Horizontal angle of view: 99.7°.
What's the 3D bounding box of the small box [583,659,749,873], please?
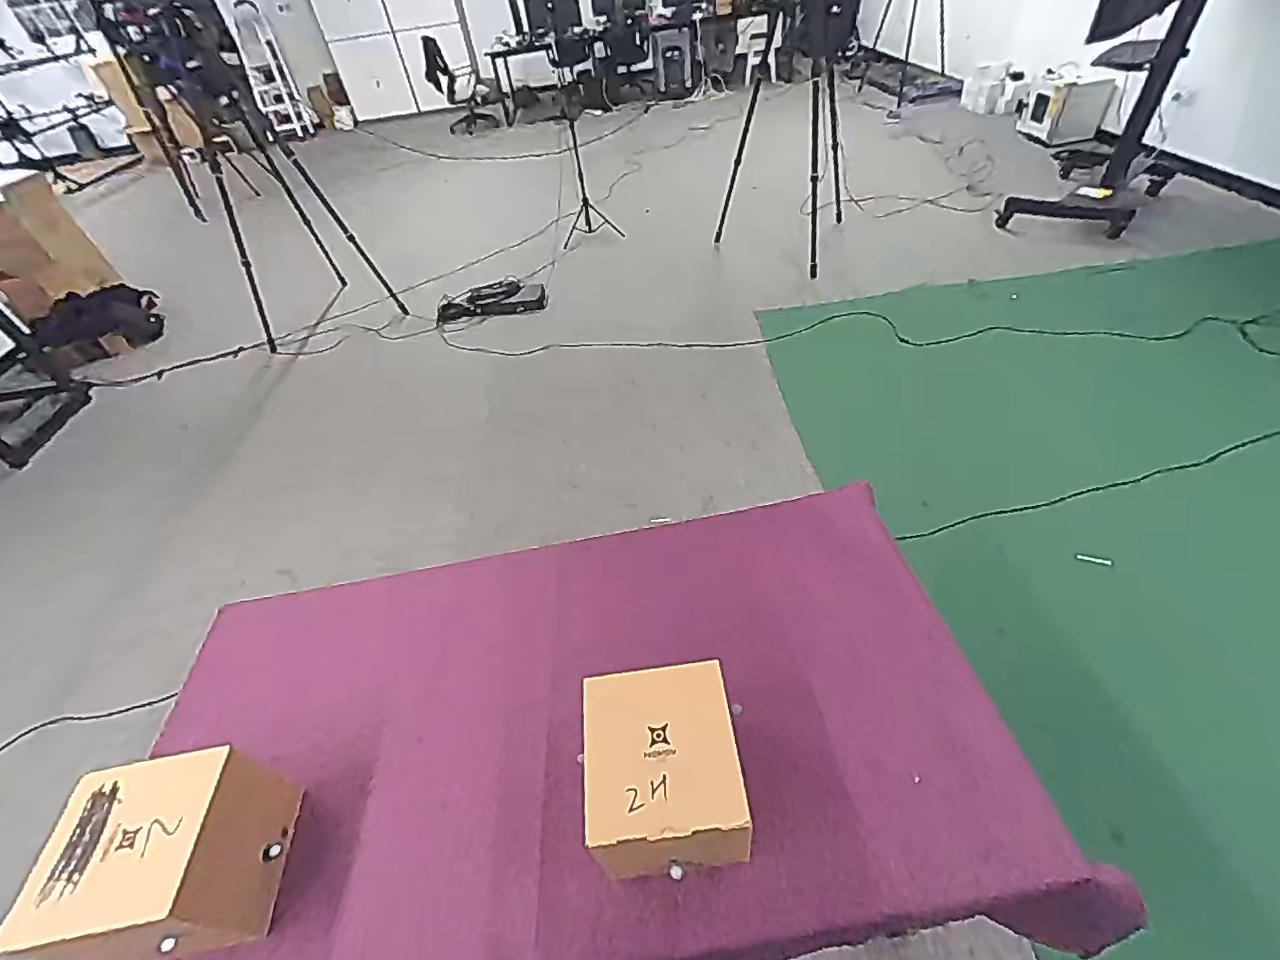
[{"bbox_3d":[0.028,0.339,0.642,0.168,0.176,0.179,-8,46,2],"label":"small box"}]
